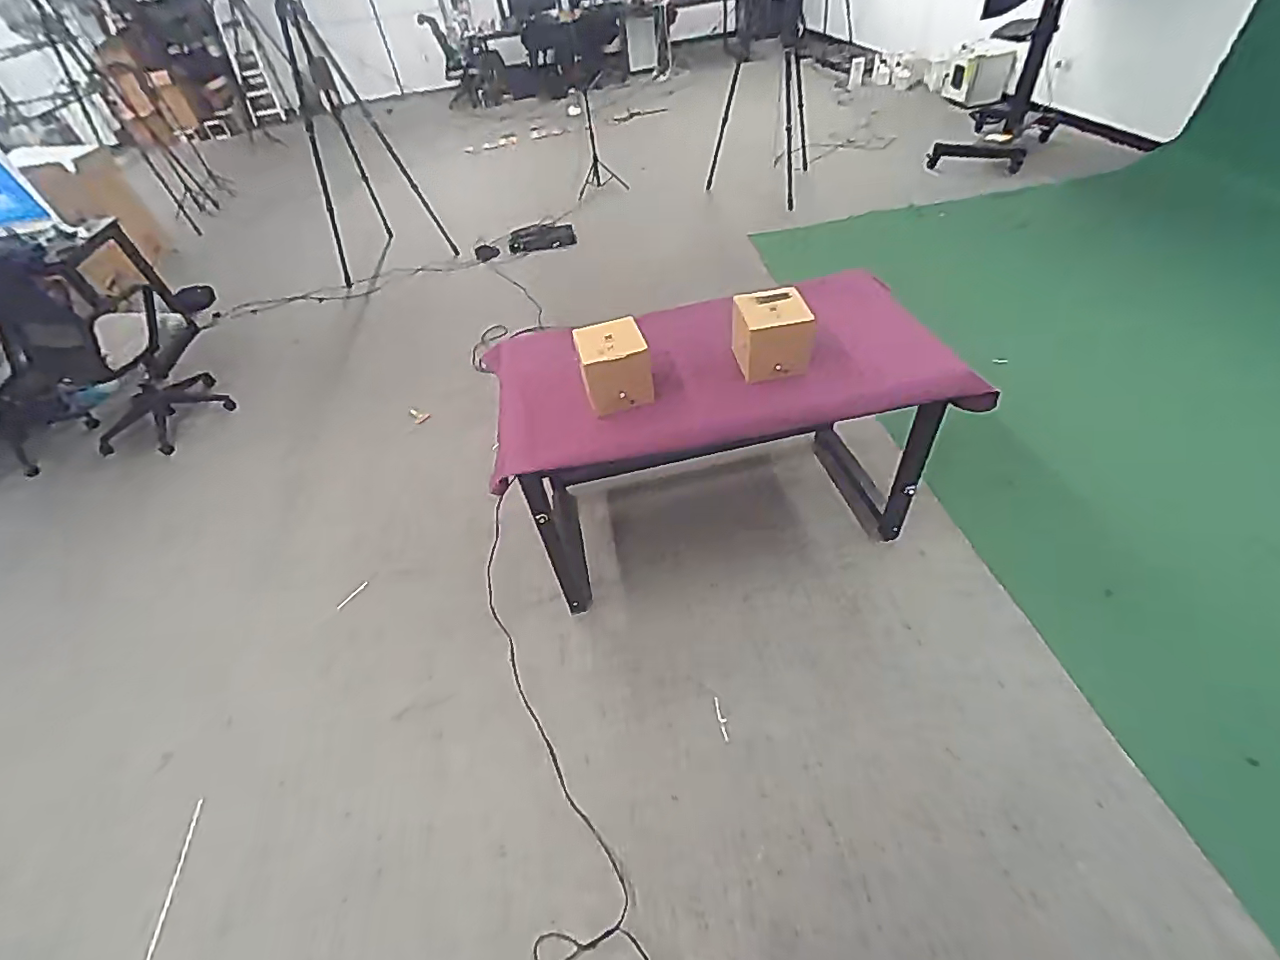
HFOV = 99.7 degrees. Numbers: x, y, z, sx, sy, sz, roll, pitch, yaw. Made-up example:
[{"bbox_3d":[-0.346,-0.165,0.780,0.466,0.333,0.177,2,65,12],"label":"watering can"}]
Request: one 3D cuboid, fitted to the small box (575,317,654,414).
[{"bbox_3d":[-0.066,-0.300,1.421,0.168,0.176,0.179,-15,46,-5],"label":"small box"}]
